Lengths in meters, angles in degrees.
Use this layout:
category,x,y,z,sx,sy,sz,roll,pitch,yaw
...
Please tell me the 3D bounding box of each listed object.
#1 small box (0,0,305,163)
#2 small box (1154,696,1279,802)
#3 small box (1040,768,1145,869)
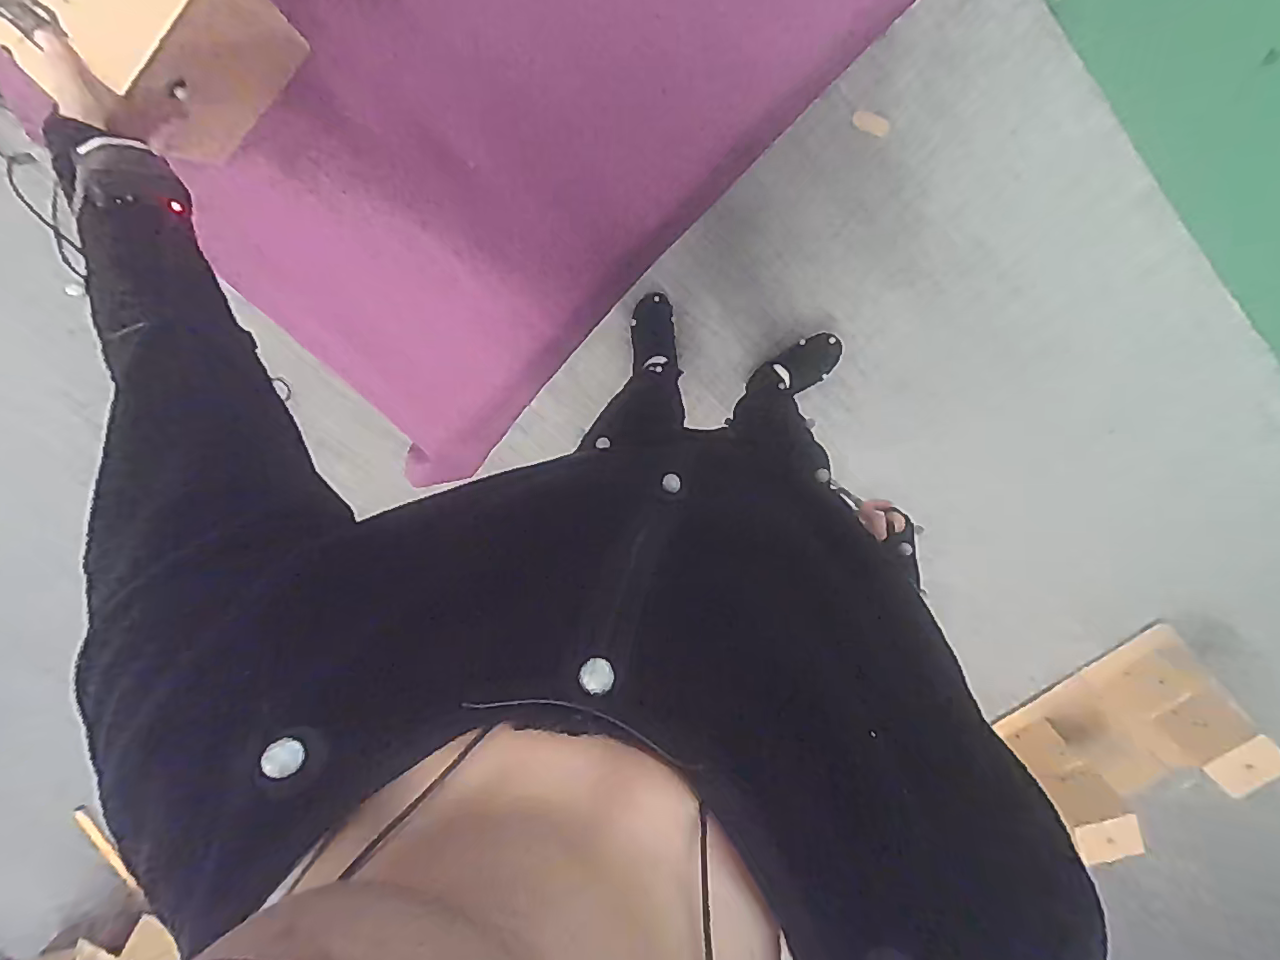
category,x,y,z,sx,sy,sz,roll,pitch,yaw
small box,-0.468,-0.436,0.510,0.179,0.176,0.168,-39,108,14
small box,1.597,0.731,1.492,0.179,0.176,0.168,40,107,-13
small box,1.332,0.997,1.599,0.168,0.176,0.179,-24,109,11
